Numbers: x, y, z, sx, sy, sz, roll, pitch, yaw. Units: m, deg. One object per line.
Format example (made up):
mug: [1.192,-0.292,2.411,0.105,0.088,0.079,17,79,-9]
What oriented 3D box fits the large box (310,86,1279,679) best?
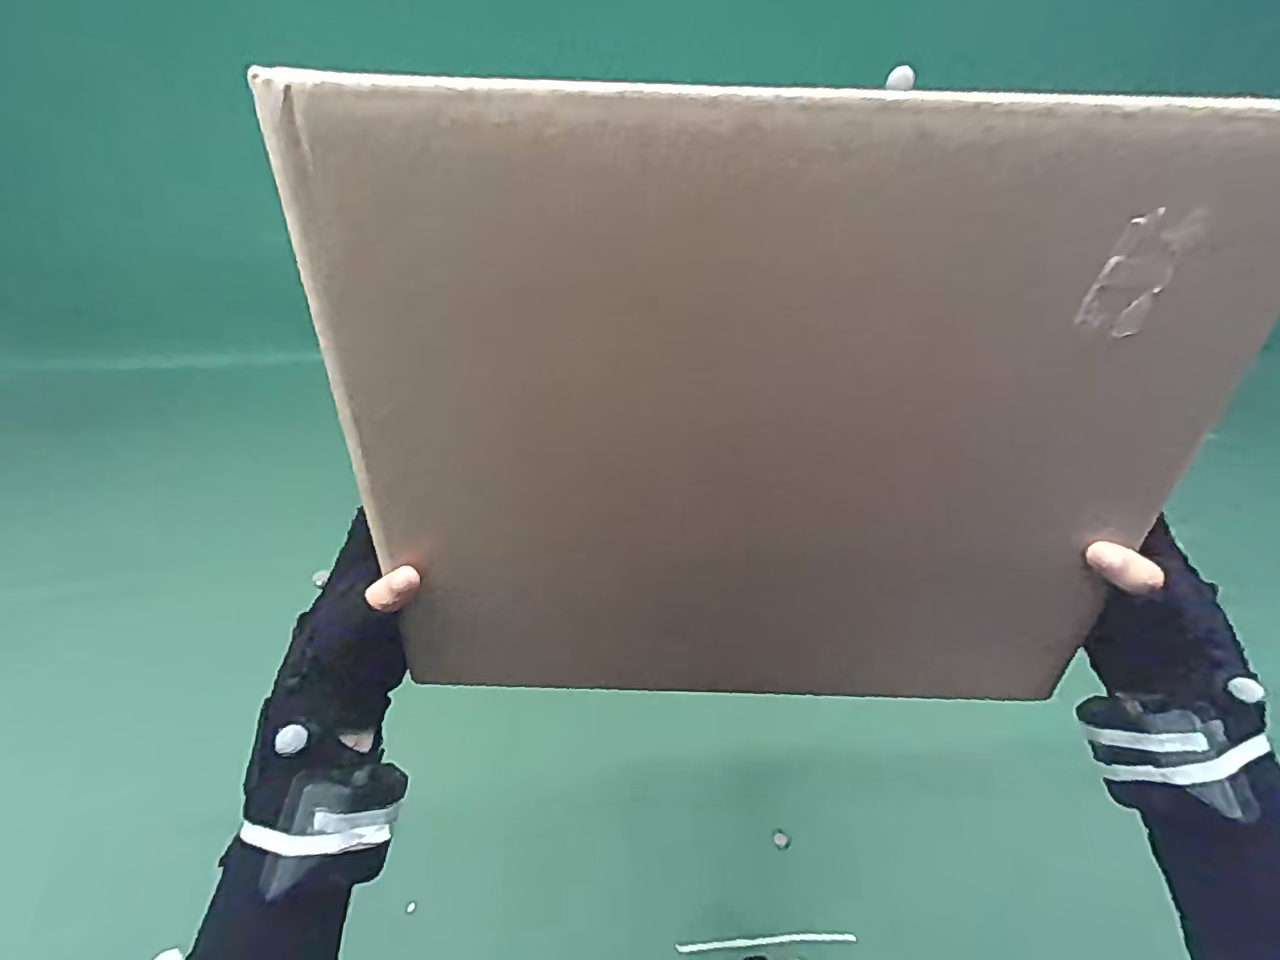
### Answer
large box: [0.066,-0.076,0.404,0.408,0.320,0.320,2,30,0]
